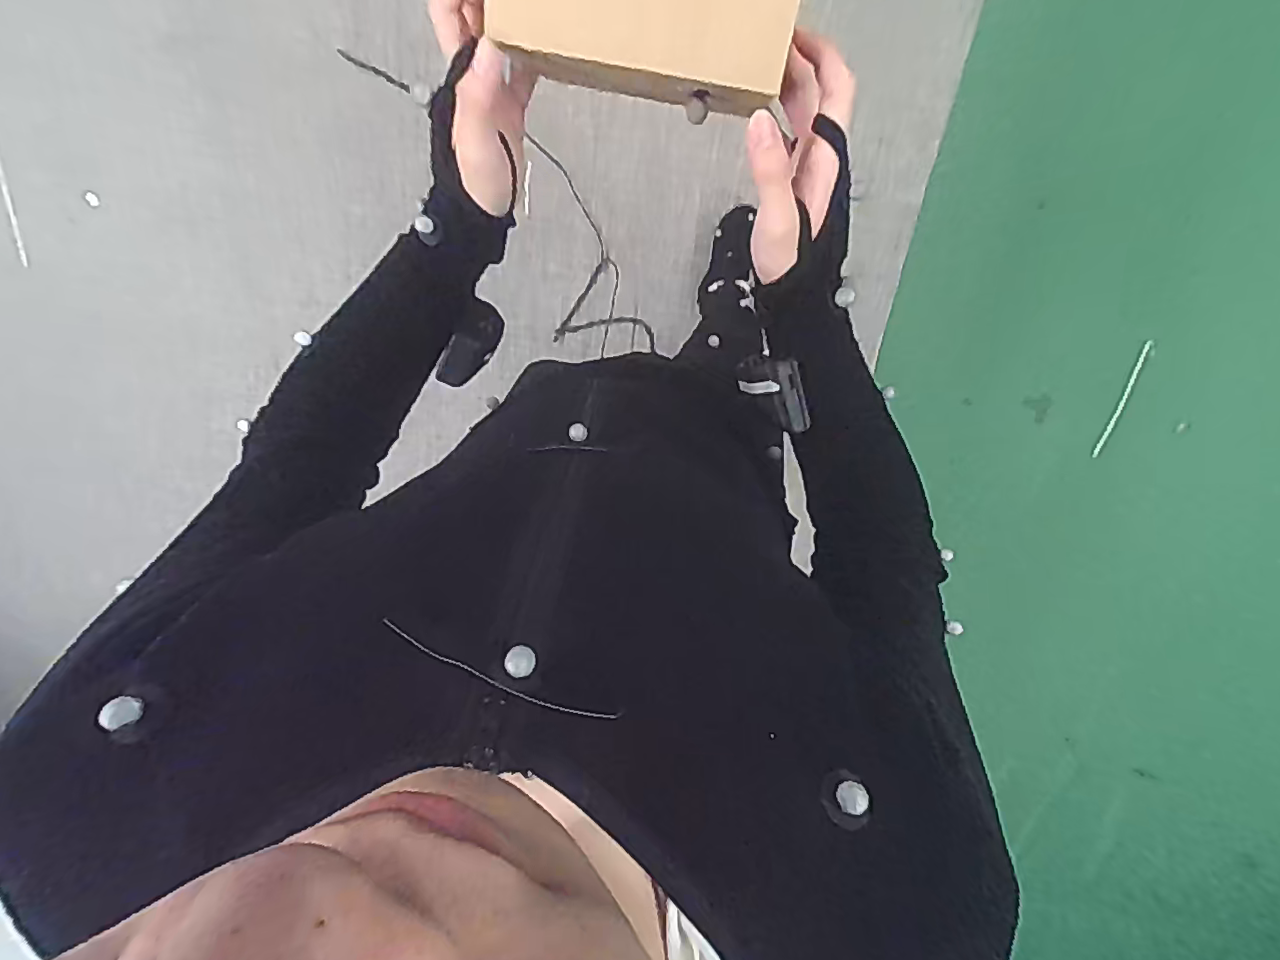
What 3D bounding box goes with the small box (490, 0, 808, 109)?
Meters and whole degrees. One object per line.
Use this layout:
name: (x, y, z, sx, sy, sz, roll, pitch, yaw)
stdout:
small box: (0.019, -0.349, 0.340, 0.179, 0.176, 0.168, 11, 120, 0)
